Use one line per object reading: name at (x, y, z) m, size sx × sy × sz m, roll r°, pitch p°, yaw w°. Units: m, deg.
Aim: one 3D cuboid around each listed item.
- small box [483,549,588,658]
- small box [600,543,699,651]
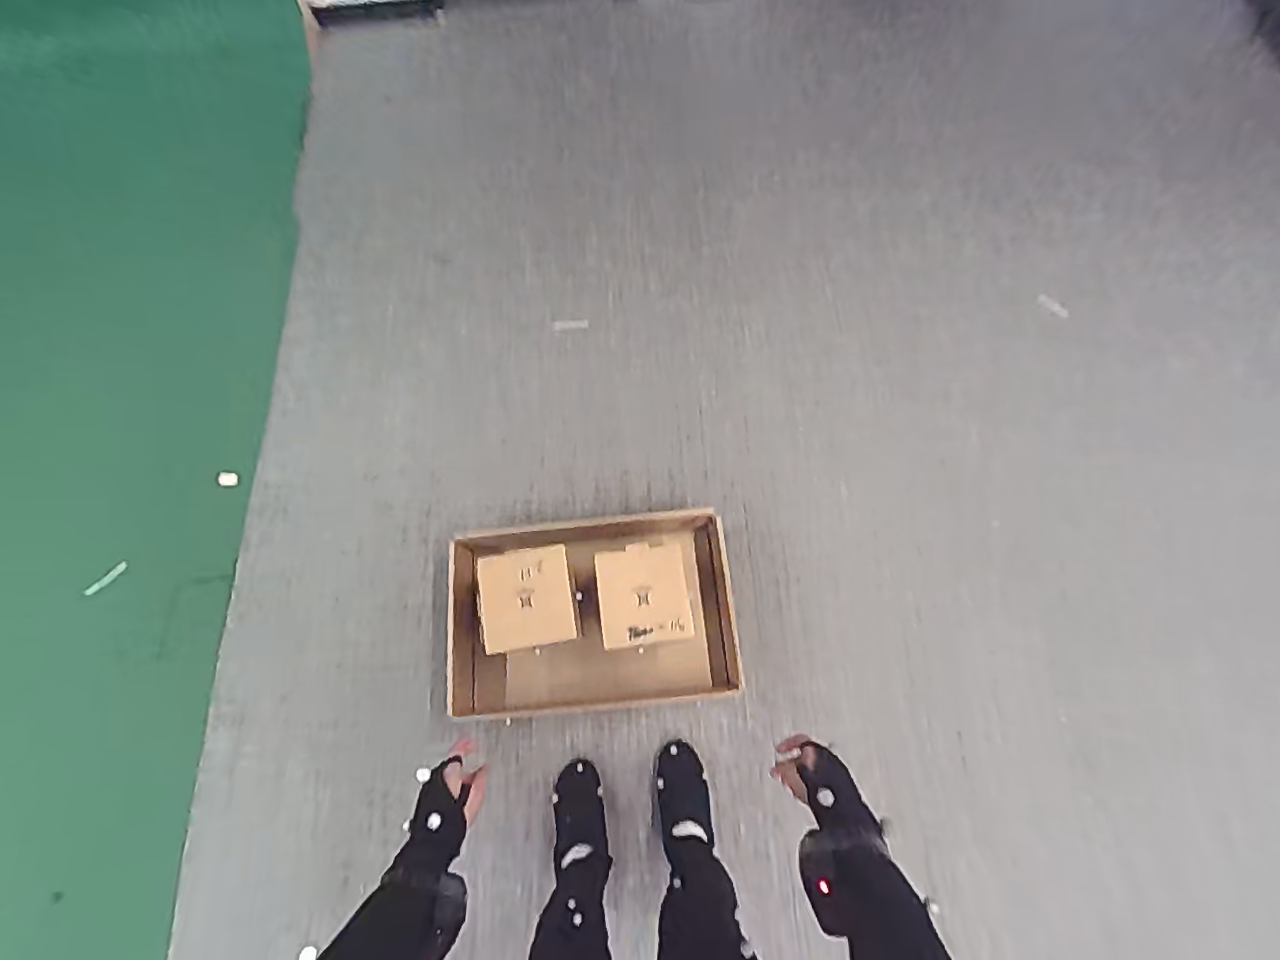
small box at (-0.200, 0.246, 1.069) m, size 0.168 × 0.176 × 0.179 m, roll -10°, pitch 73°, yaw -4°
small box at (0.019, 0.235, 1.059) m, size 0.168 × 0.176 × 0.179 m, roll -9°, pitch 71°, yaw 2°
